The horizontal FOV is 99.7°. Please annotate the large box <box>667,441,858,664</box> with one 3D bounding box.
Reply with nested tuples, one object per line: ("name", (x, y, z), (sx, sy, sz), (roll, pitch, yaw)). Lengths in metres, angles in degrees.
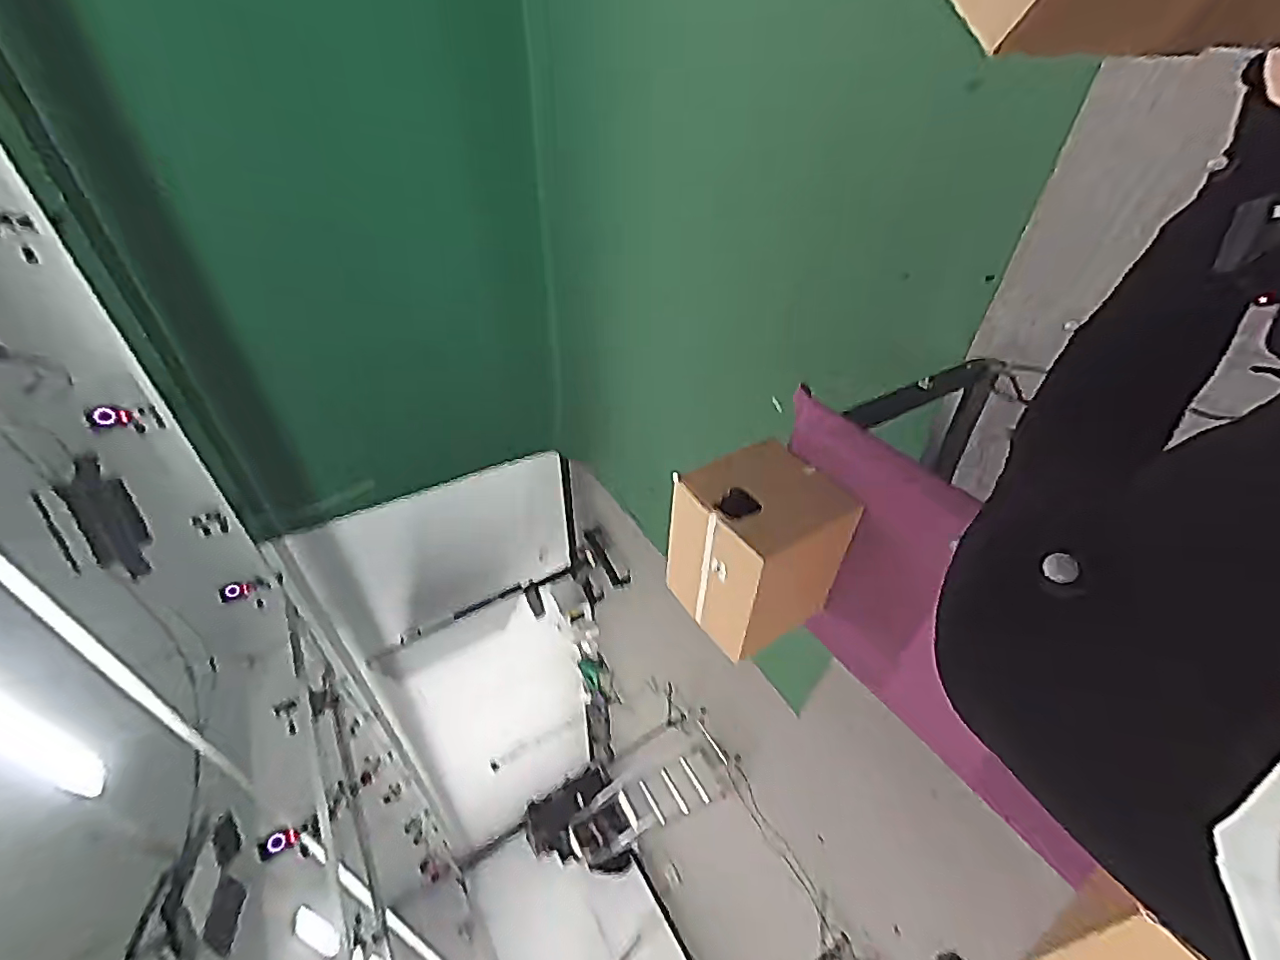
("large box", (0.287, 0.175, 1.372), (0.320, 0.320, 0.408), (44, 145, 39))
